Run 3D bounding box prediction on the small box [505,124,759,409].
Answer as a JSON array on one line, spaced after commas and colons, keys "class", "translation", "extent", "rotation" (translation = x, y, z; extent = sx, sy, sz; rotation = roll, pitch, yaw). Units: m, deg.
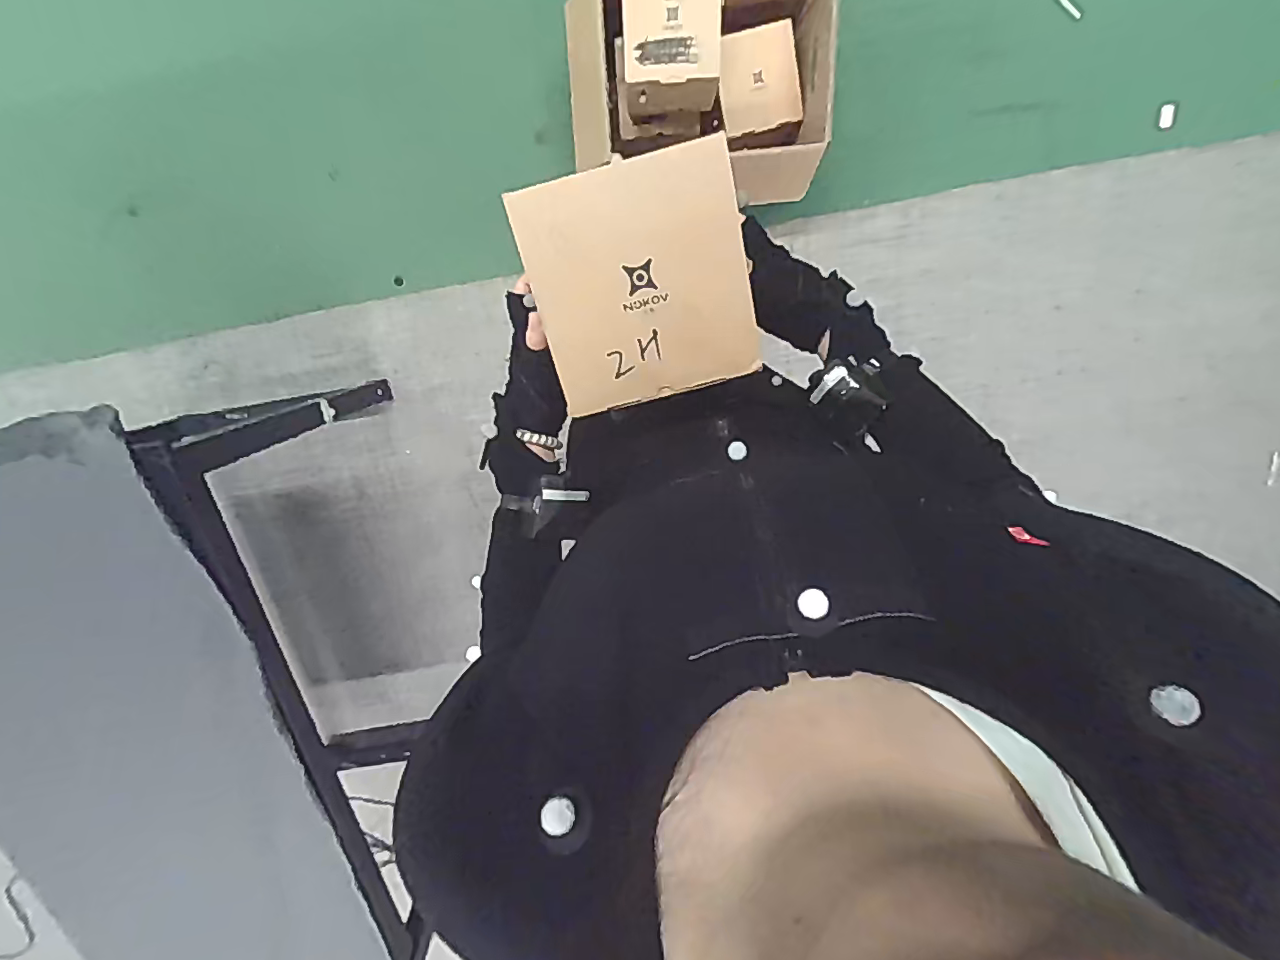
[{"class": "small box", "translation": [-0.003, -0.182, 0.484], "extent": [0.168, 0.176, 0.179], "rotation": [-13, 113, 4]}]
